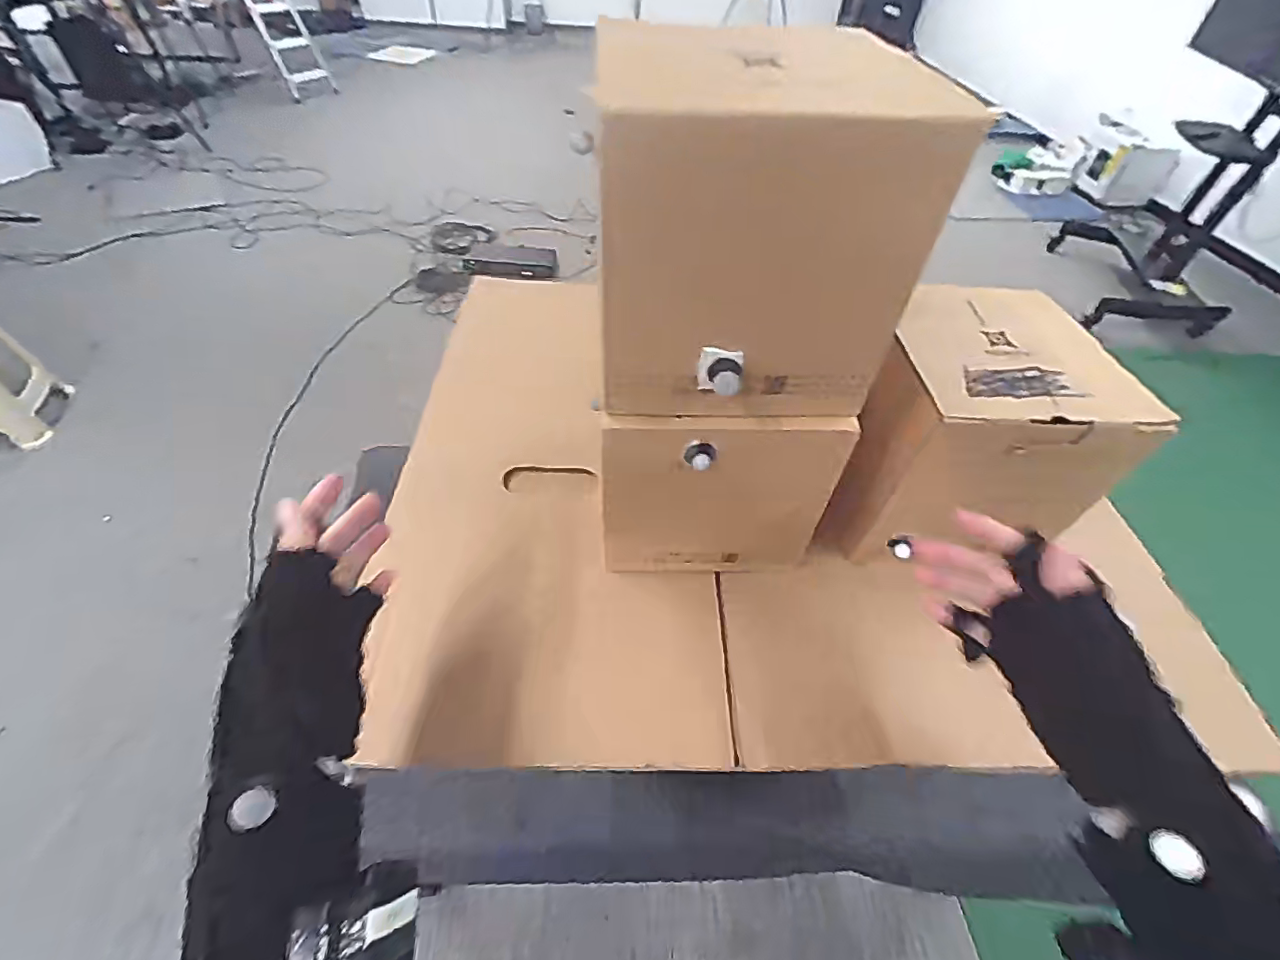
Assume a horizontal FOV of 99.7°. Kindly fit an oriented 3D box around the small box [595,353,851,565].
[{"bbox_3d":[0.051,-0.048,0.455,0.168,0.176,0.179,0,49,-1],"label":"small box"}]

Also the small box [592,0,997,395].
[{"bbox_3d":[0.055,-0.171,0.326,0.168,0.176,0.179,-2,51,-3],"label":"small box"}]
